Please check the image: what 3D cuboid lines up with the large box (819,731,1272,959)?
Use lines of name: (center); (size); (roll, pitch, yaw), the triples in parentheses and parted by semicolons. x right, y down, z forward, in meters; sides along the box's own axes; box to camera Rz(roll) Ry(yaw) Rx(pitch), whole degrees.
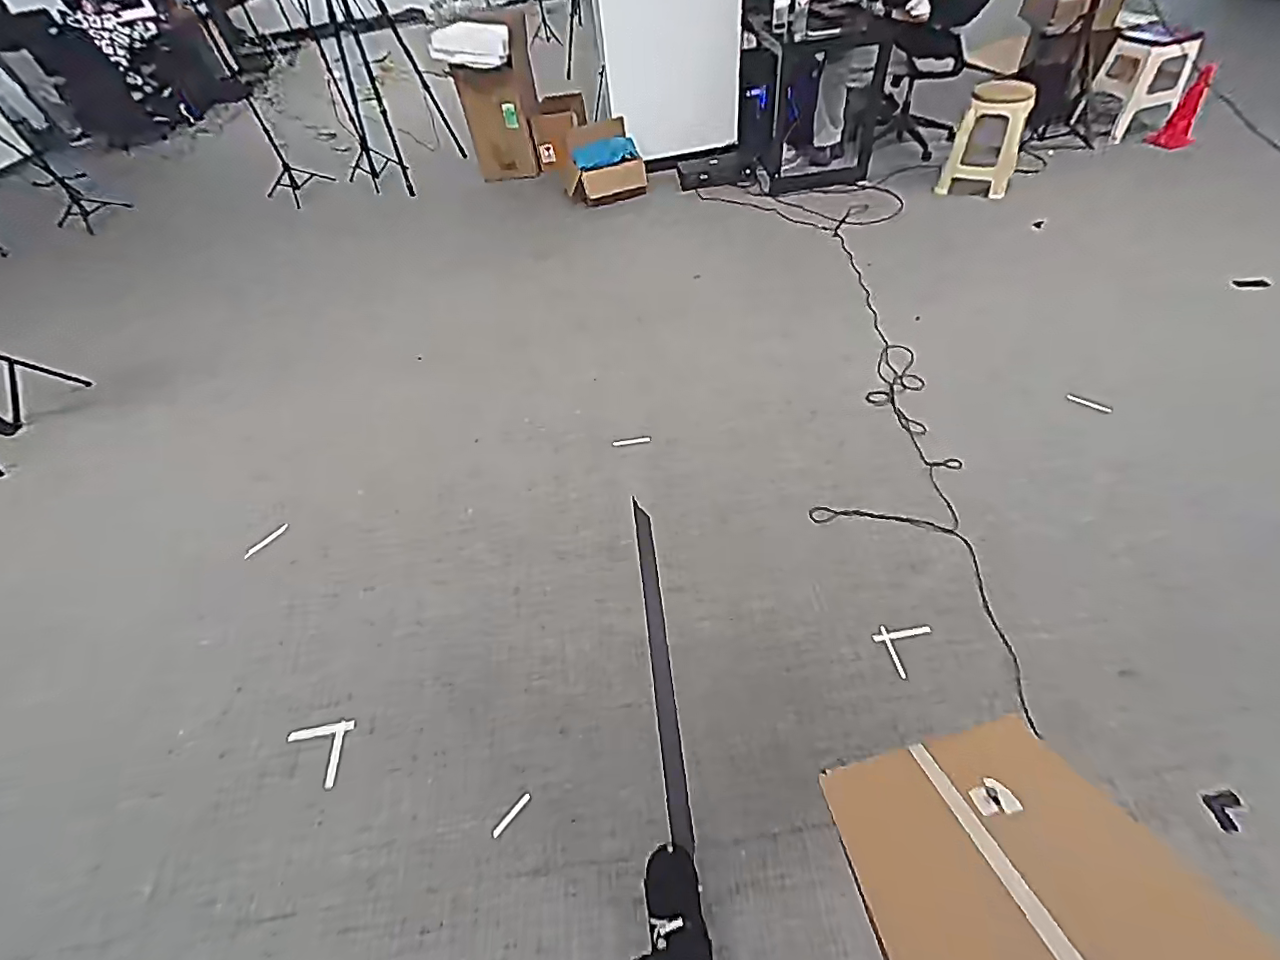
large box: (0.467, 0.595, 0.660); (0.320, 0.320, 0.408); (-18, 5, 5)
